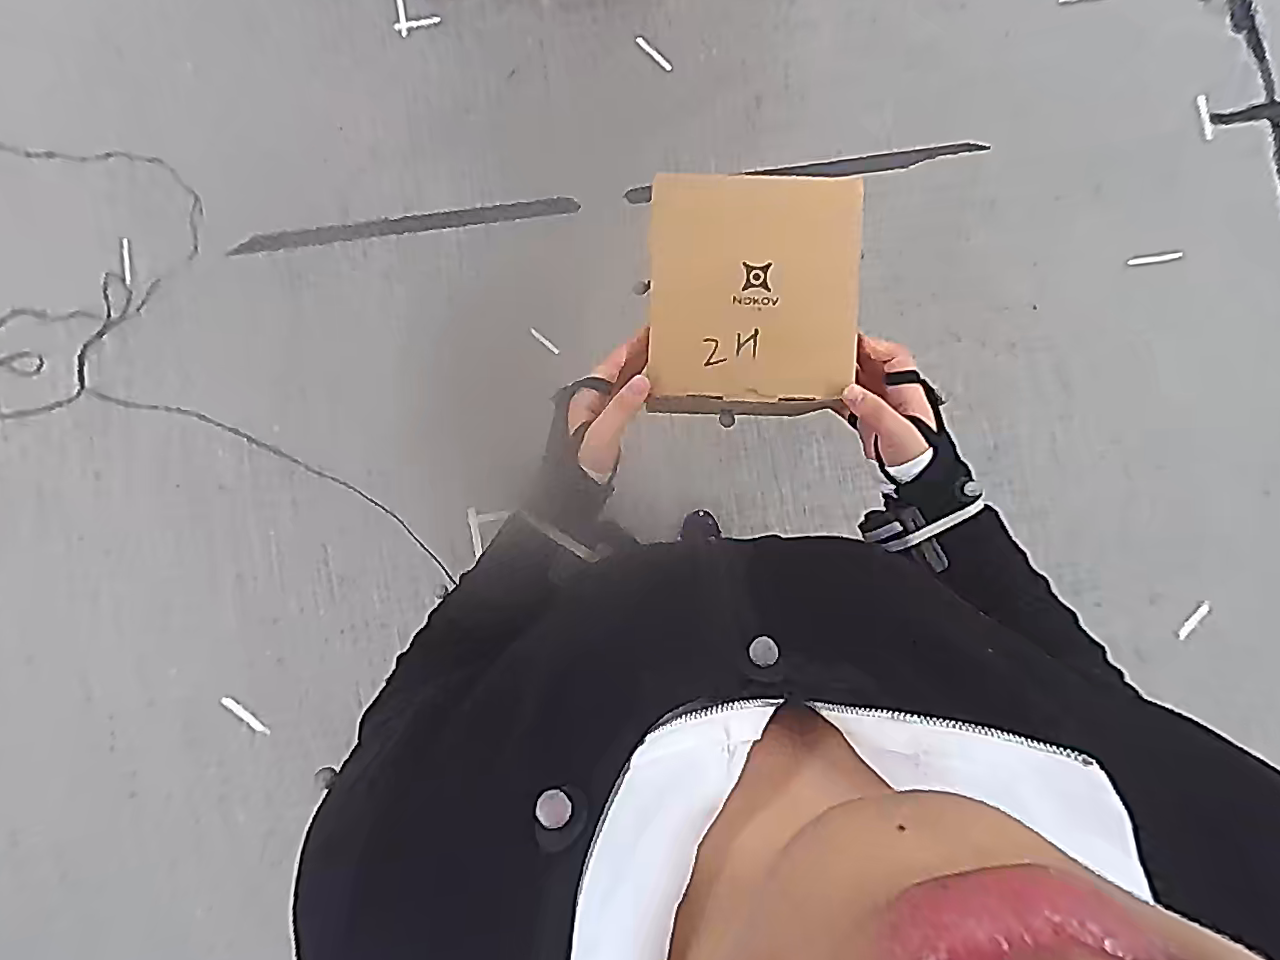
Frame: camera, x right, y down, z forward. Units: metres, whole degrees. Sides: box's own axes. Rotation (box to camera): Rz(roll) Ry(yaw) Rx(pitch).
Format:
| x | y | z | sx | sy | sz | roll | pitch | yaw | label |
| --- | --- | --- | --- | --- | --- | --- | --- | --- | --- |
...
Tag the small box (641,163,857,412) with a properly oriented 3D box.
| x | y | z | sx | sy | sz | roll | pitch | yaw | label |
| --- | --- | --- | --- | --- | --- | --- | --- | --- | --- |
| 0.086 | -0.161 | 0.505 | 0.168 | 0.176 | 0.179 | 2 | 93 | 1 | small box |
